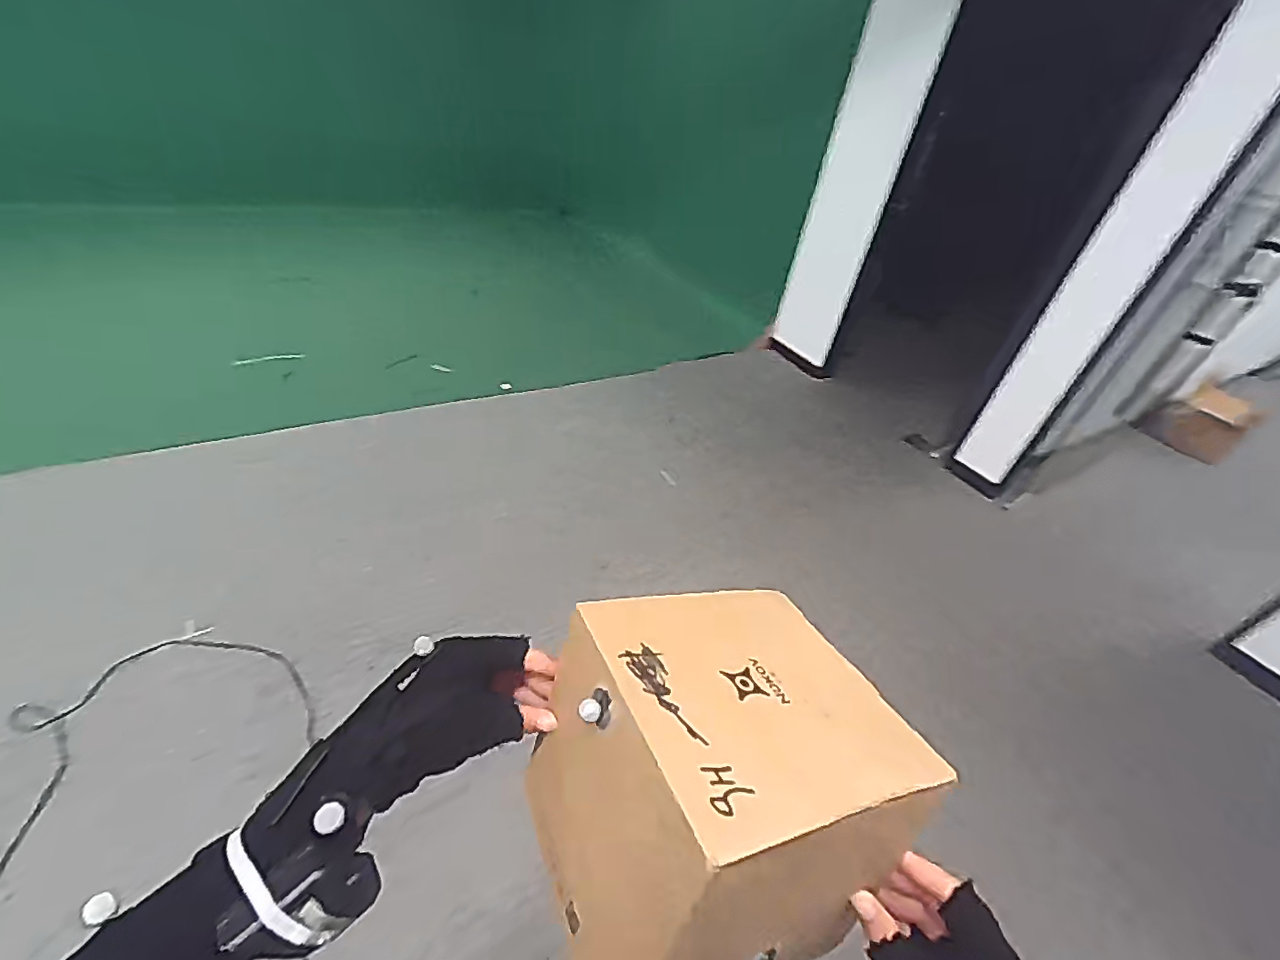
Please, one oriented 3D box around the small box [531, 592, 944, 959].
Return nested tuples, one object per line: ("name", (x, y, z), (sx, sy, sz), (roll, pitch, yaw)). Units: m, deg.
("small box", (0.046, 0.193, 0.358), (0.179, 0.176, 0.168), (5, 24, -31))
